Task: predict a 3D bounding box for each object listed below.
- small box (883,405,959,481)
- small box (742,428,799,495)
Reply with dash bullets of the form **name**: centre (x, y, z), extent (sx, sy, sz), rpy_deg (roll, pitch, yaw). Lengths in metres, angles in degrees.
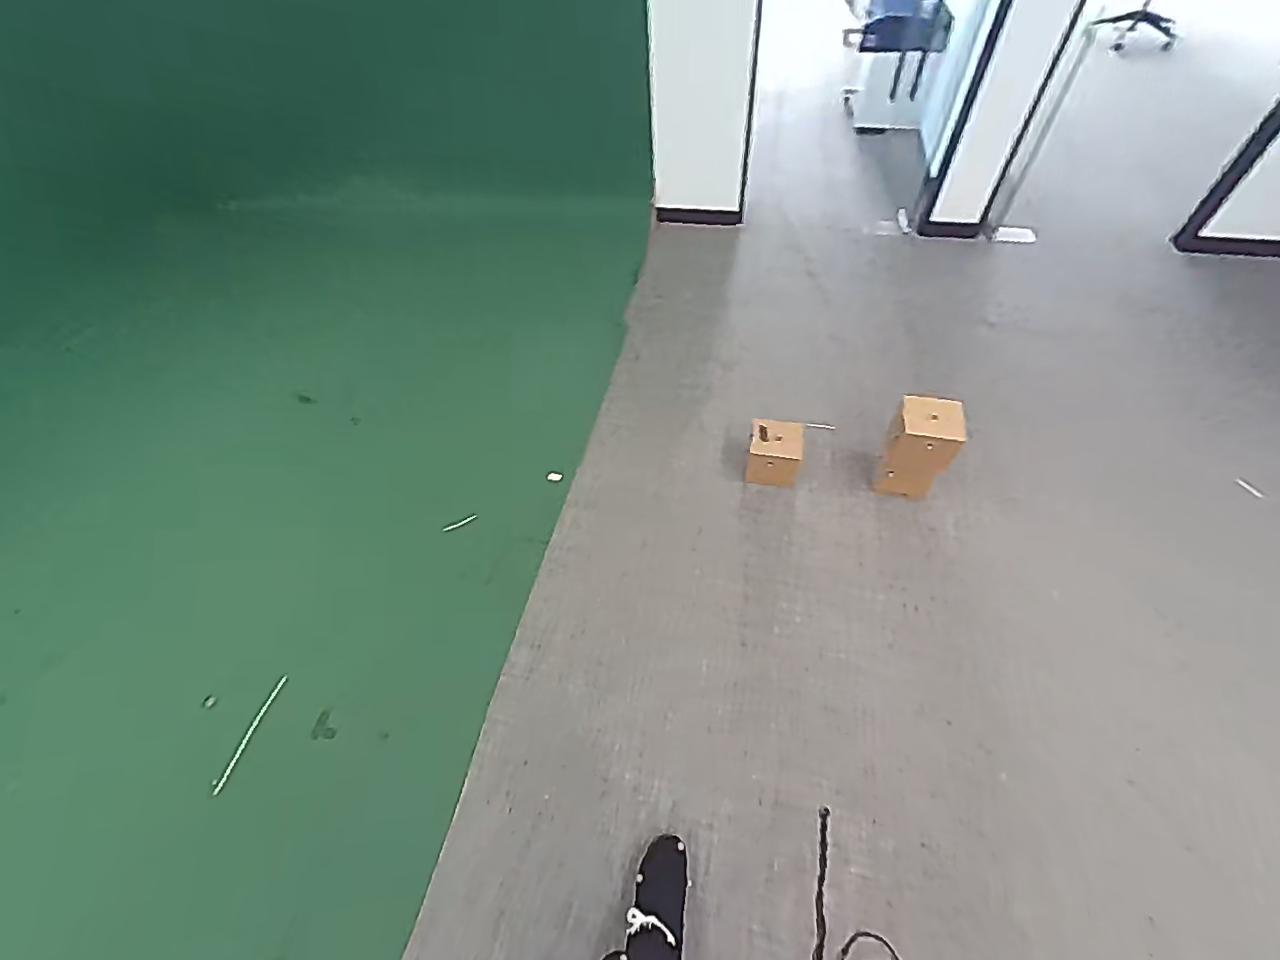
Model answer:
- **small box**: centre (0.896, -0.116, 1.744), extent (0.179, 0.176, 0.168), rpy_deg (9, 54, 9)
- **small box**: centre (0.464, -0.062, 1.936), extent (0.179, 0.176, 0.168), rpy_deg (8, 54, 8)
